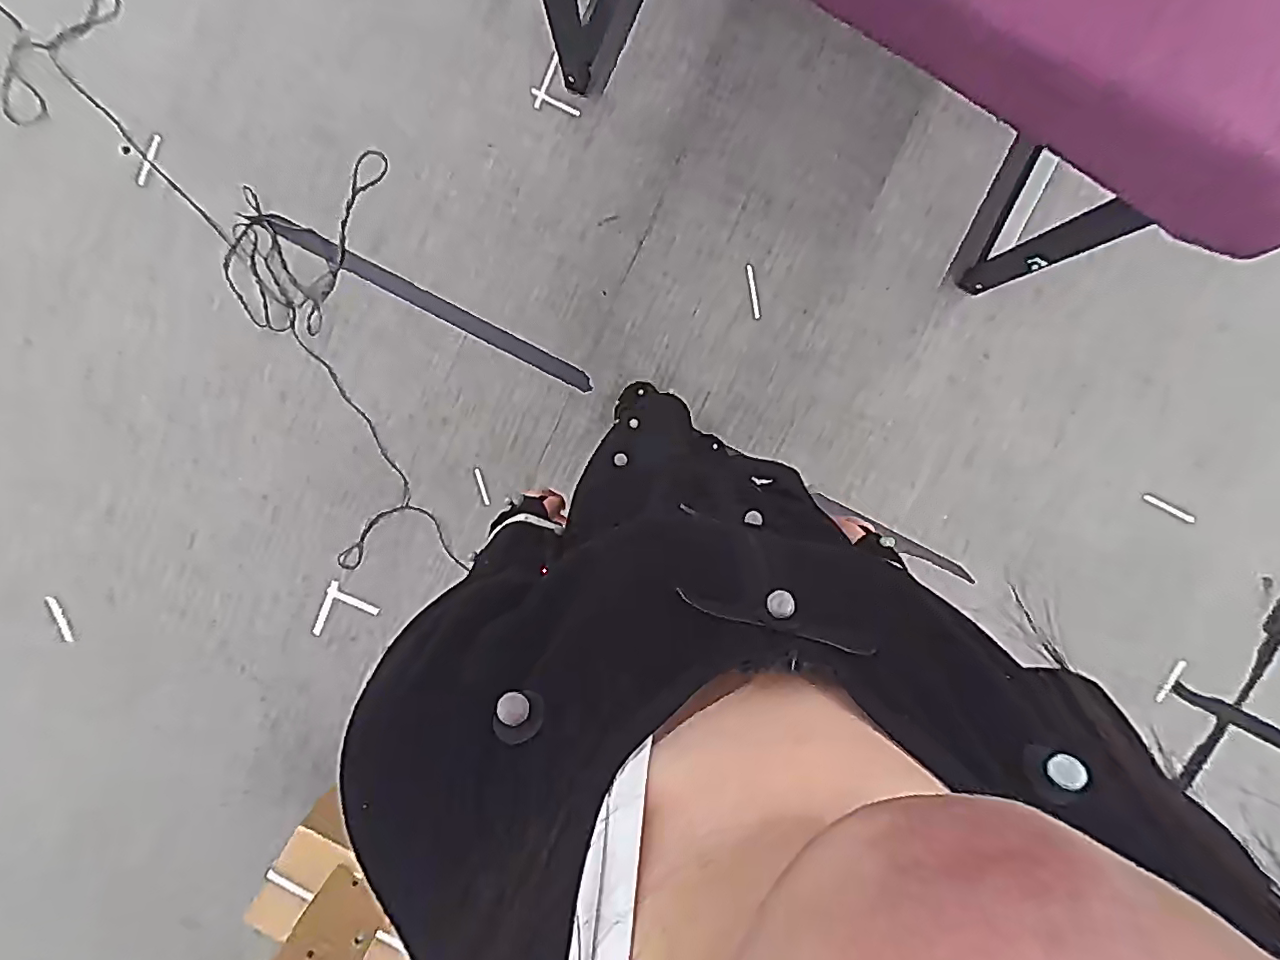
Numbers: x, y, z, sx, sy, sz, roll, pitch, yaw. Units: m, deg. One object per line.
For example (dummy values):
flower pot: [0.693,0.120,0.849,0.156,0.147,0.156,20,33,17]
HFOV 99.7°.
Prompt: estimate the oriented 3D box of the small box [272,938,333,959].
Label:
small box: [-0.712,1.075,1.071,0.168,0.176,0.179,31,96,-2]
